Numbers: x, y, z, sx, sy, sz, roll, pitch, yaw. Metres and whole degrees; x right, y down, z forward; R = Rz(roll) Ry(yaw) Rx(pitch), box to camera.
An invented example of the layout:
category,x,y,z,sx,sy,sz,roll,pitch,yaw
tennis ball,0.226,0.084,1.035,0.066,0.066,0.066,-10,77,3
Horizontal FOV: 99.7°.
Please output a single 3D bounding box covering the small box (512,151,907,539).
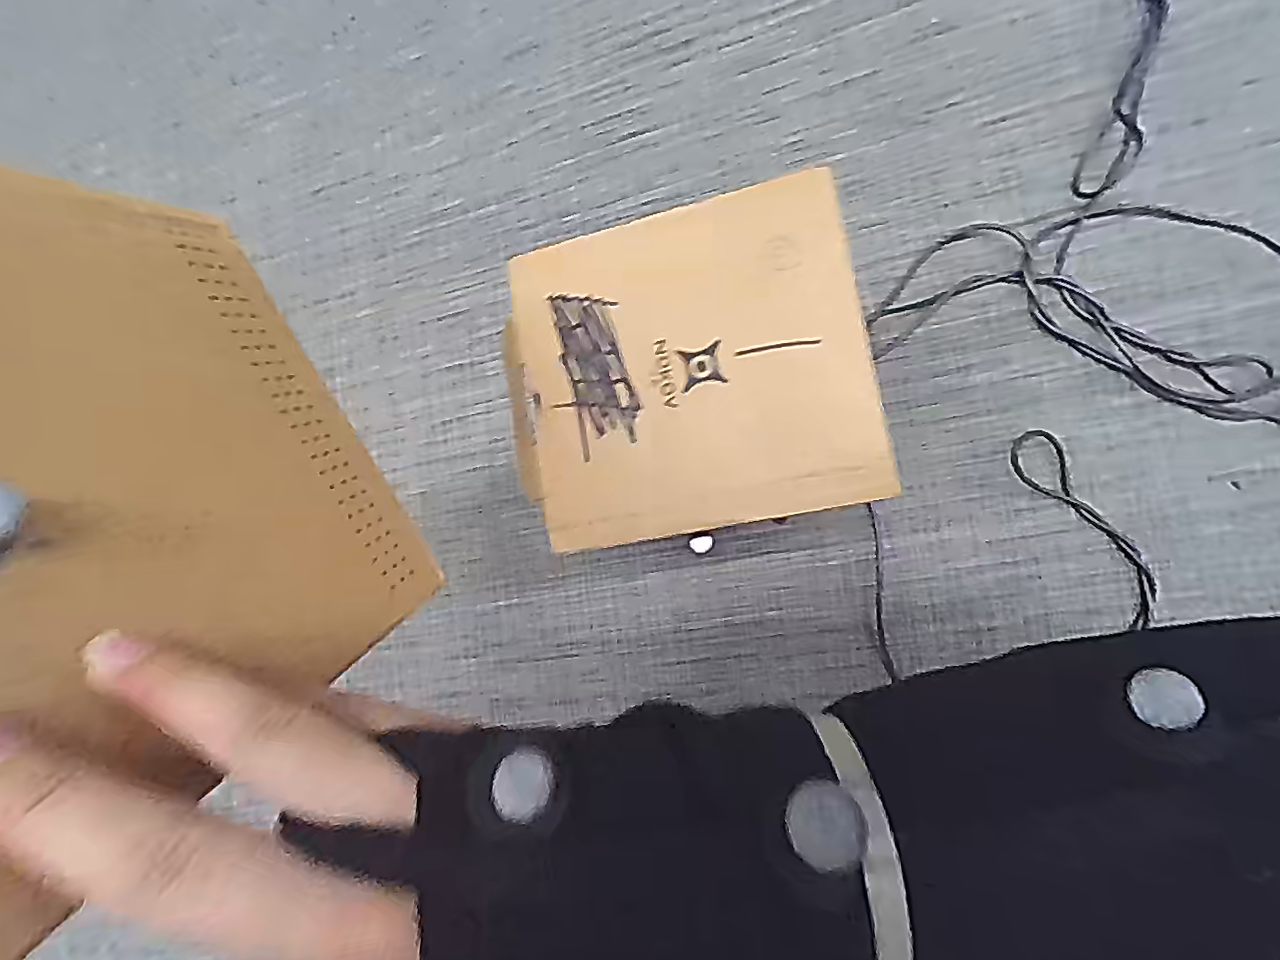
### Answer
category,x,y,z,sx,sy,sz,roll,pitch,yaw
small box,0.044,-0.057,0.343,0.179,0.176,0.168,-10,85,12
